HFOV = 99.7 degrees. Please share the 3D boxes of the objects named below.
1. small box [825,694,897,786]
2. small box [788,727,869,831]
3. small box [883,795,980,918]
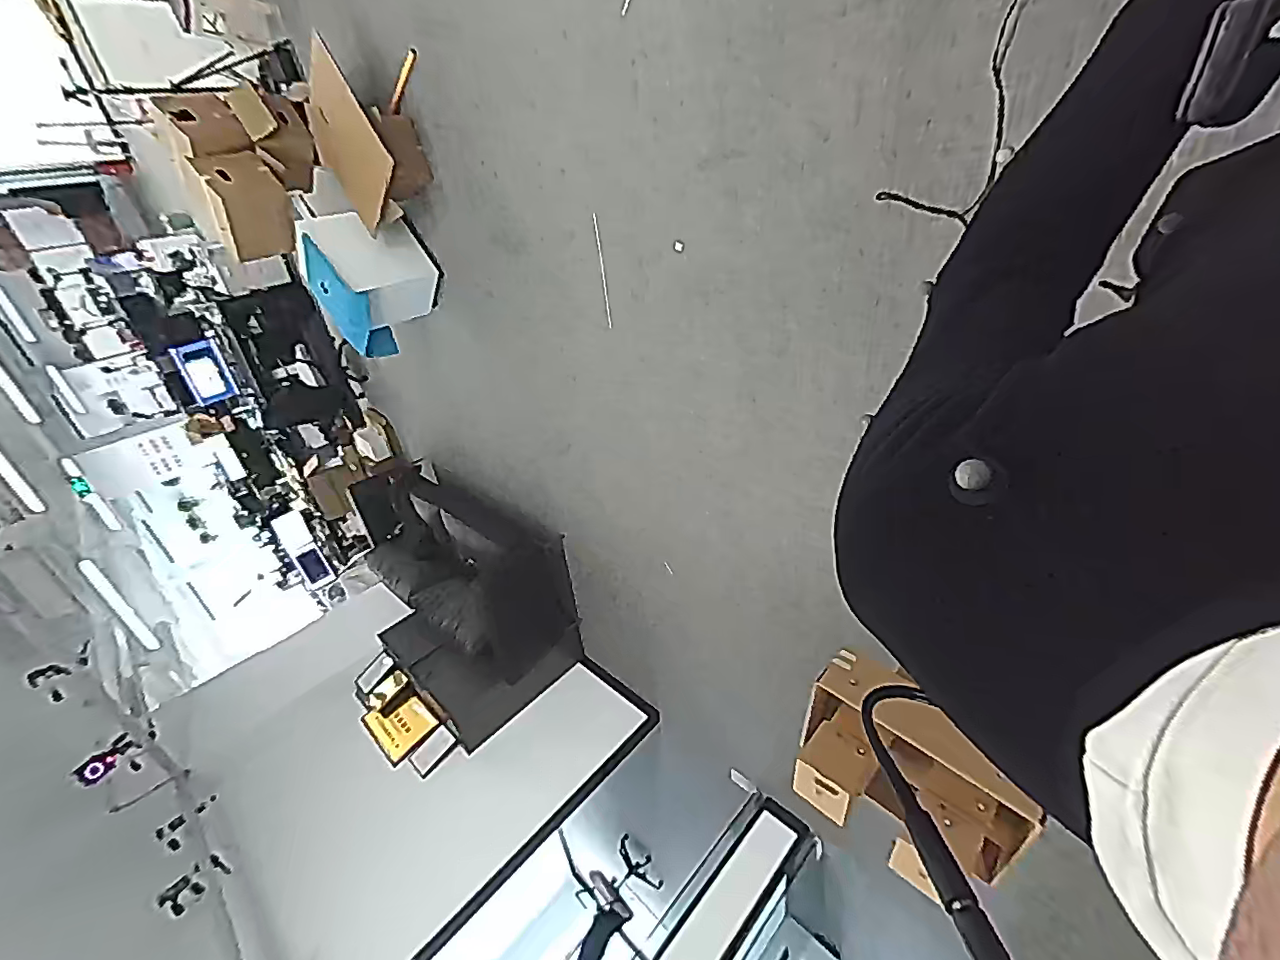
[{"bbox_3d":[0.684,0.823,1.709,0.168,0.176,0.179,29,134,35],"label":"small box"},{"bbox_3d":[0.563,0.883,1.614,0.168,0.176,0.179,25,132,38],"label":"small box"},{"bbox_3d":[0.776,0.995,1.440,0.168,0.176,0.179,24,132,37],"label":"small box"}]
